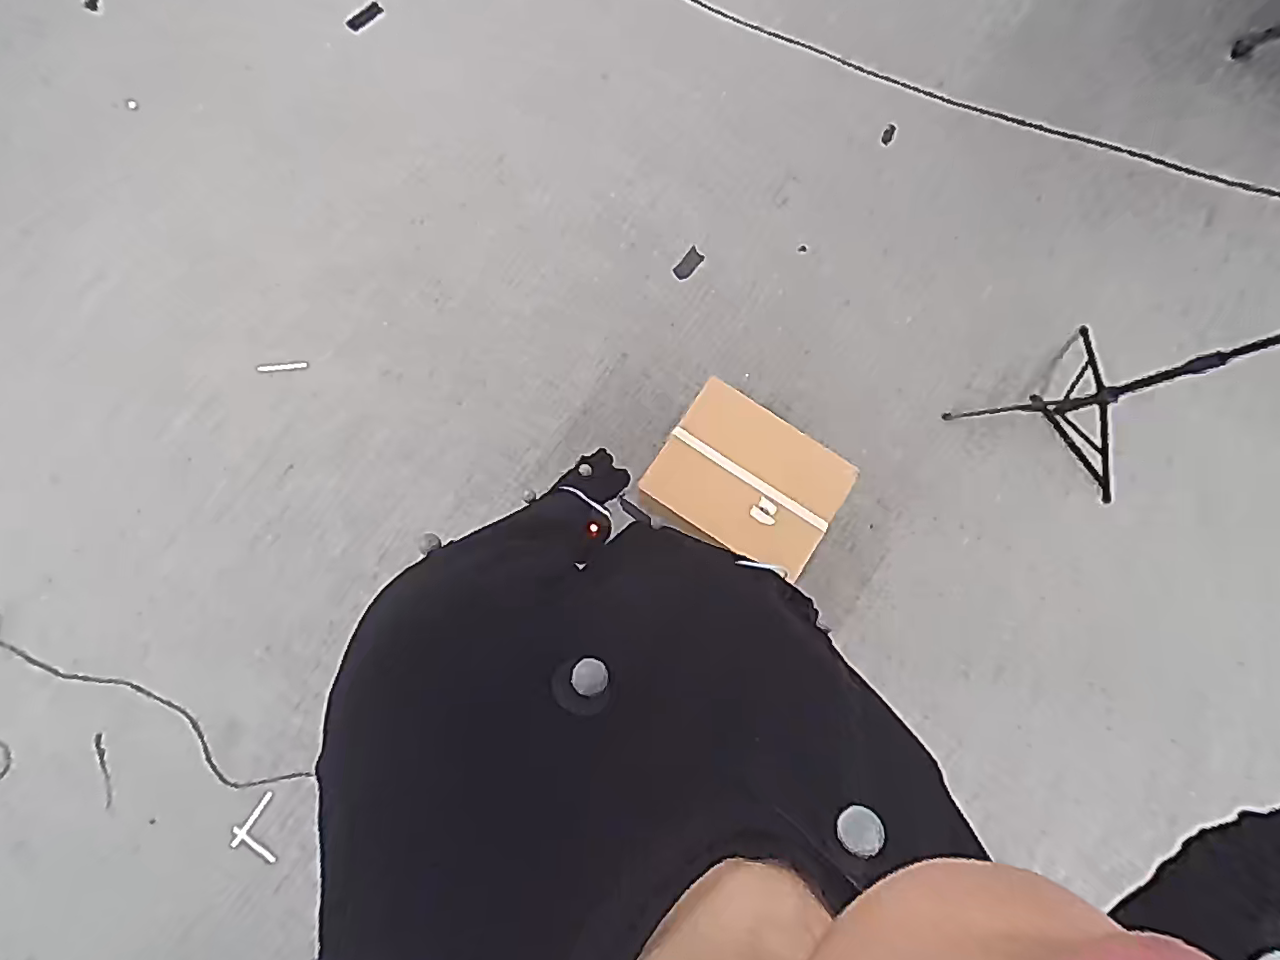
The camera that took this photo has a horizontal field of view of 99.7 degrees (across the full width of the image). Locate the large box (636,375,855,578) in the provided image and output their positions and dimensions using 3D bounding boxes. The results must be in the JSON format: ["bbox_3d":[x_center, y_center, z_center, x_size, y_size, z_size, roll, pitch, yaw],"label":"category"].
[{"bbox_3d":[0.237,0.005,1.365,0.408,0.320,0.320,34,84,3],"label":"large box"}]
